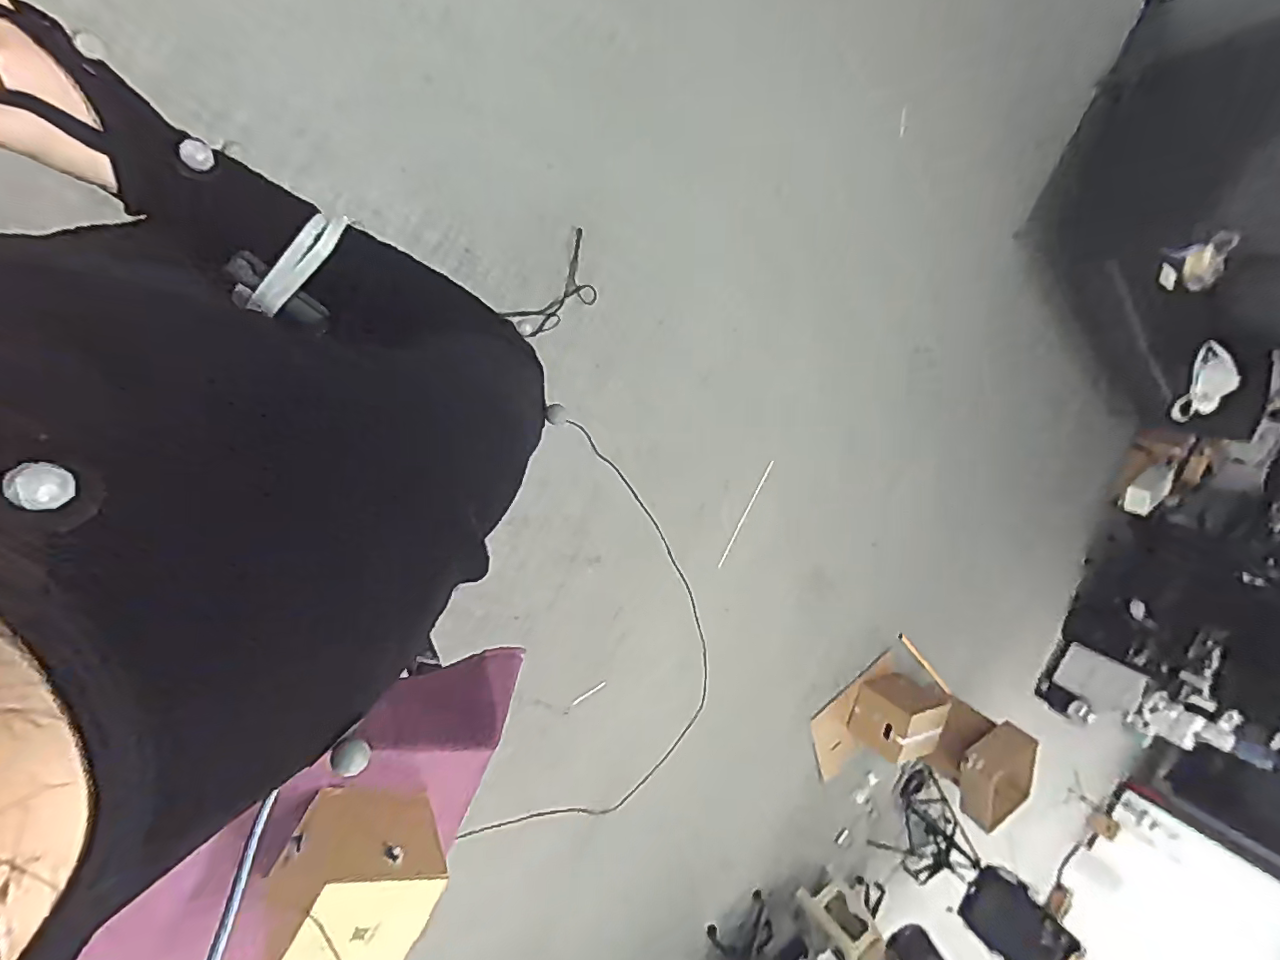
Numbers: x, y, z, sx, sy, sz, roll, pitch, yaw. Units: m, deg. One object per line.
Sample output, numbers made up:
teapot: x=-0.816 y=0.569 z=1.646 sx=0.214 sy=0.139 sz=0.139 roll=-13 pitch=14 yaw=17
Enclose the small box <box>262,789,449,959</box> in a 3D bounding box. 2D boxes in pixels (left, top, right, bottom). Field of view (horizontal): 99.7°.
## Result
small box: x=-0.413 y=0.582 z=0.787 sx=0.179 sy=0.176 sz=0.168 roll=31 pitch=89 yaw=-36
